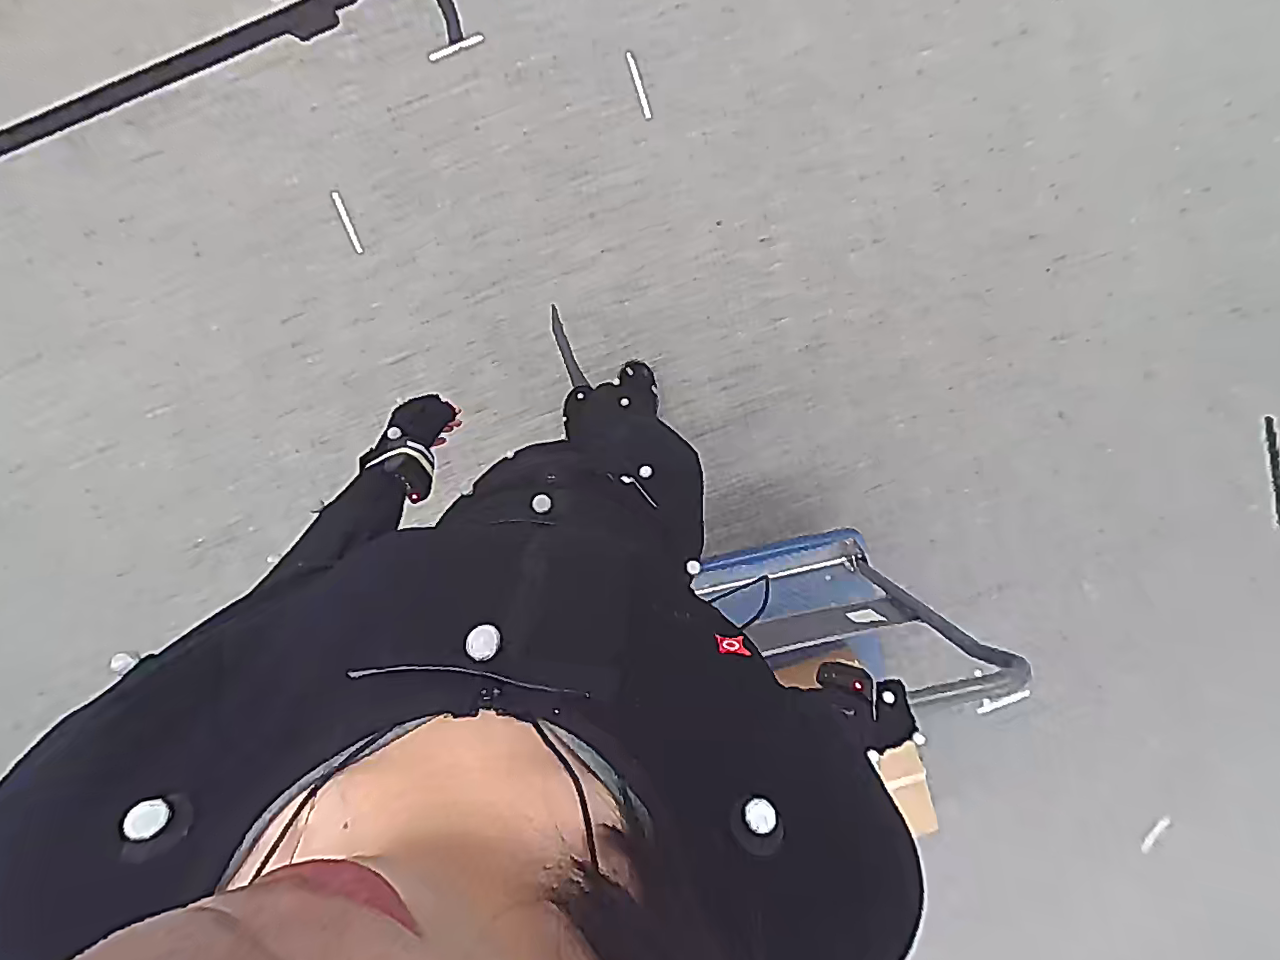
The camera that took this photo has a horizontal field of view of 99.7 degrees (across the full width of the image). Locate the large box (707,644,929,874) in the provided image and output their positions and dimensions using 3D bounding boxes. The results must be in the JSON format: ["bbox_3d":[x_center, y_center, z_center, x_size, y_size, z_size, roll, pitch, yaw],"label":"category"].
[{"bbox_3d":[0.418,0.670,1.348,0.408,0.320,0.320,-19,100,2],"label":"large box"}]
